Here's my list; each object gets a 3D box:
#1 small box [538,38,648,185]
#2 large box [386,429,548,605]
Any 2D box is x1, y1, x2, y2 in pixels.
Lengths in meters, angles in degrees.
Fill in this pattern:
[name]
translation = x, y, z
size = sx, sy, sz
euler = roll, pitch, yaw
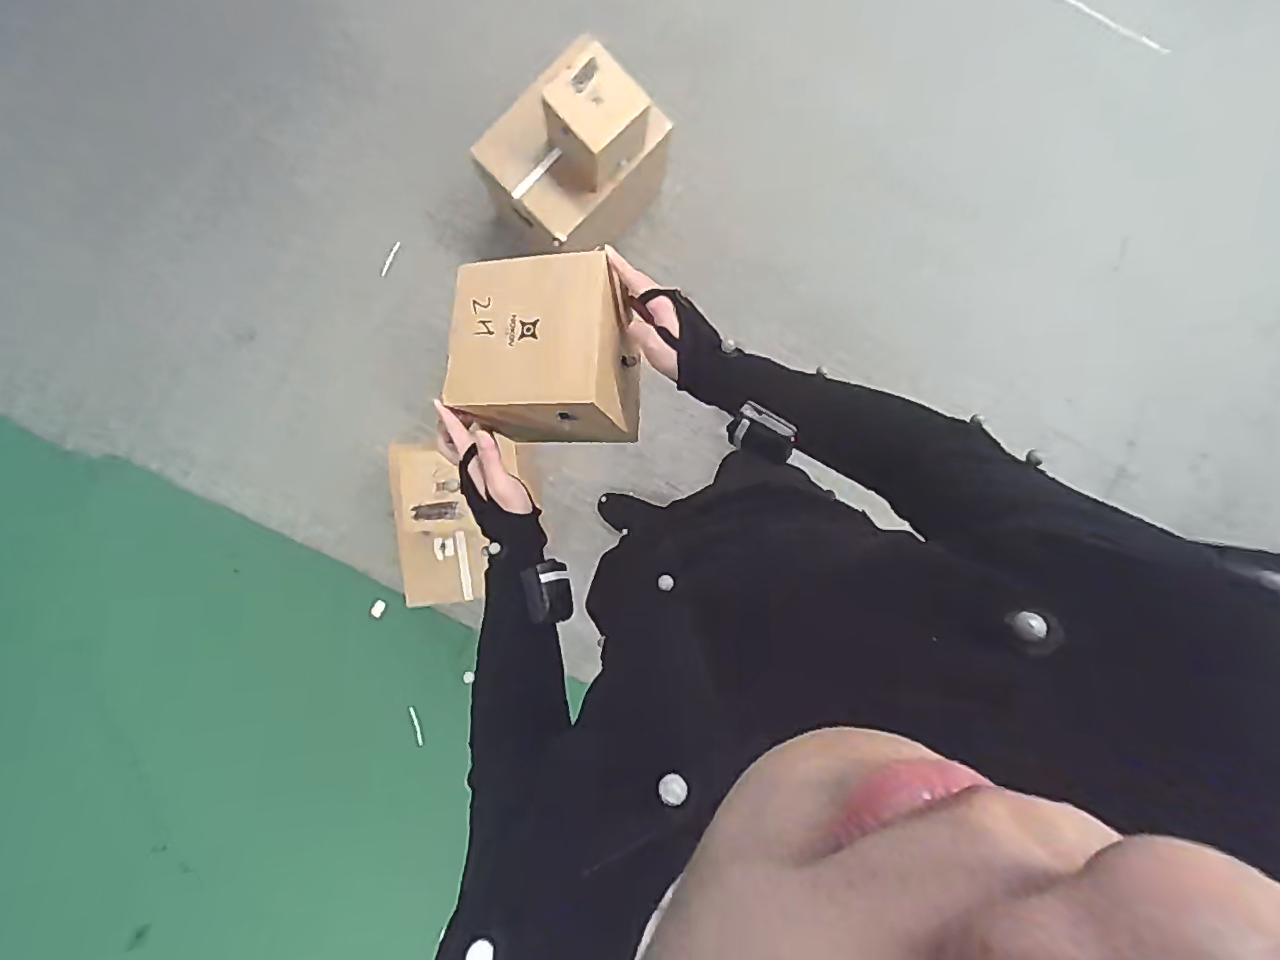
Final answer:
[small box]
translation = -0.104, -0.812, 1.211
size = 0.168, 0.176, 0.179
euler = -43, 95, 0
[large box]
translation = -0.446, 0.085, 1.471
size = 0.320, 0.320, 0.408
euler = -7, 93, -1
